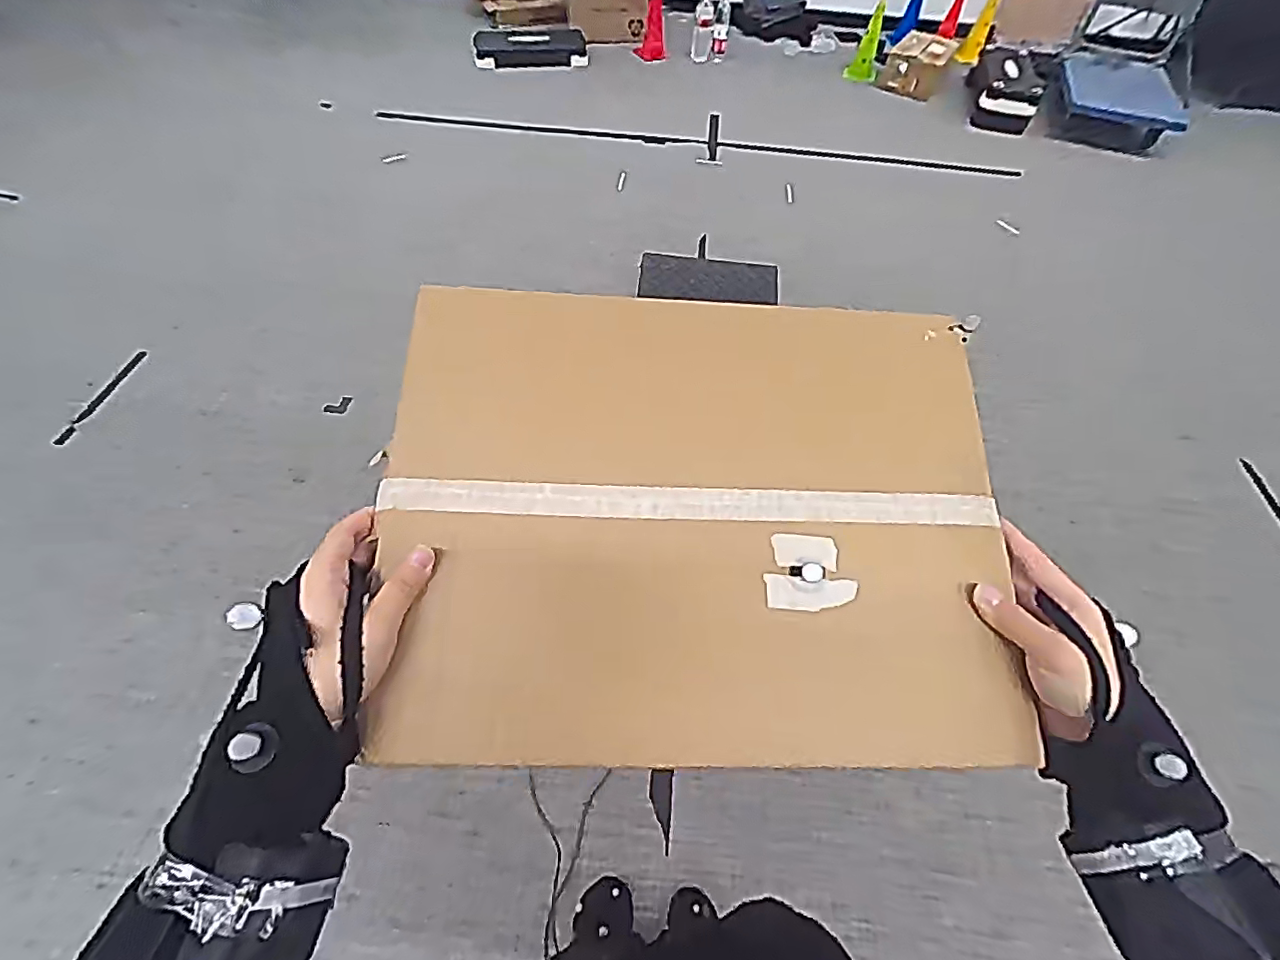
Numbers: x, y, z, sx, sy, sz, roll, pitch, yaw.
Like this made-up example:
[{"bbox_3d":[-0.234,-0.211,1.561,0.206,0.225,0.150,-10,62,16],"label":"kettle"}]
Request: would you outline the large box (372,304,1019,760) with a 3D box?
[{"bbox_3d":[0.029,0.064,0.510,0.408,0.320,0.320,2,73,-4],"label":"large box"}]
